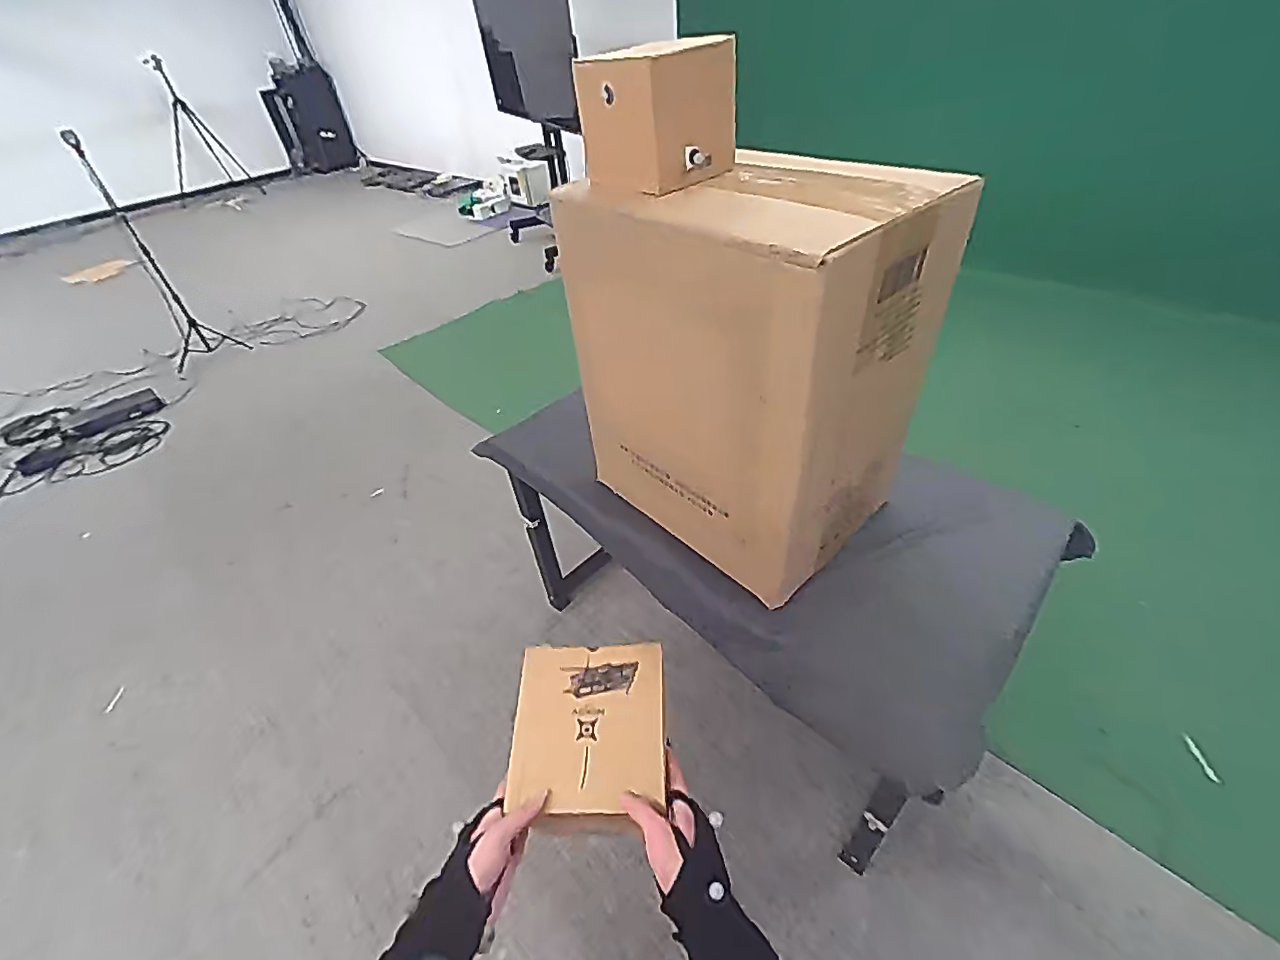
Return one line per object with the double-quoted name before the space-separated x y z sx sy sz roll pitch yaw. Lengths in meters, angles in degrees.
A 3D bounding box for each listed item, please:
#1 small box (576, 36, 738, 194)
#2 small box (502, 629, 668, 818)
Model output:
"small box" 0.028 -0.552 0.819 0.168 0.176 0.179 -35 50 -25
"small box" -0.053 0.297 0.656 0.168 0.176 0.179 -2 53 4
